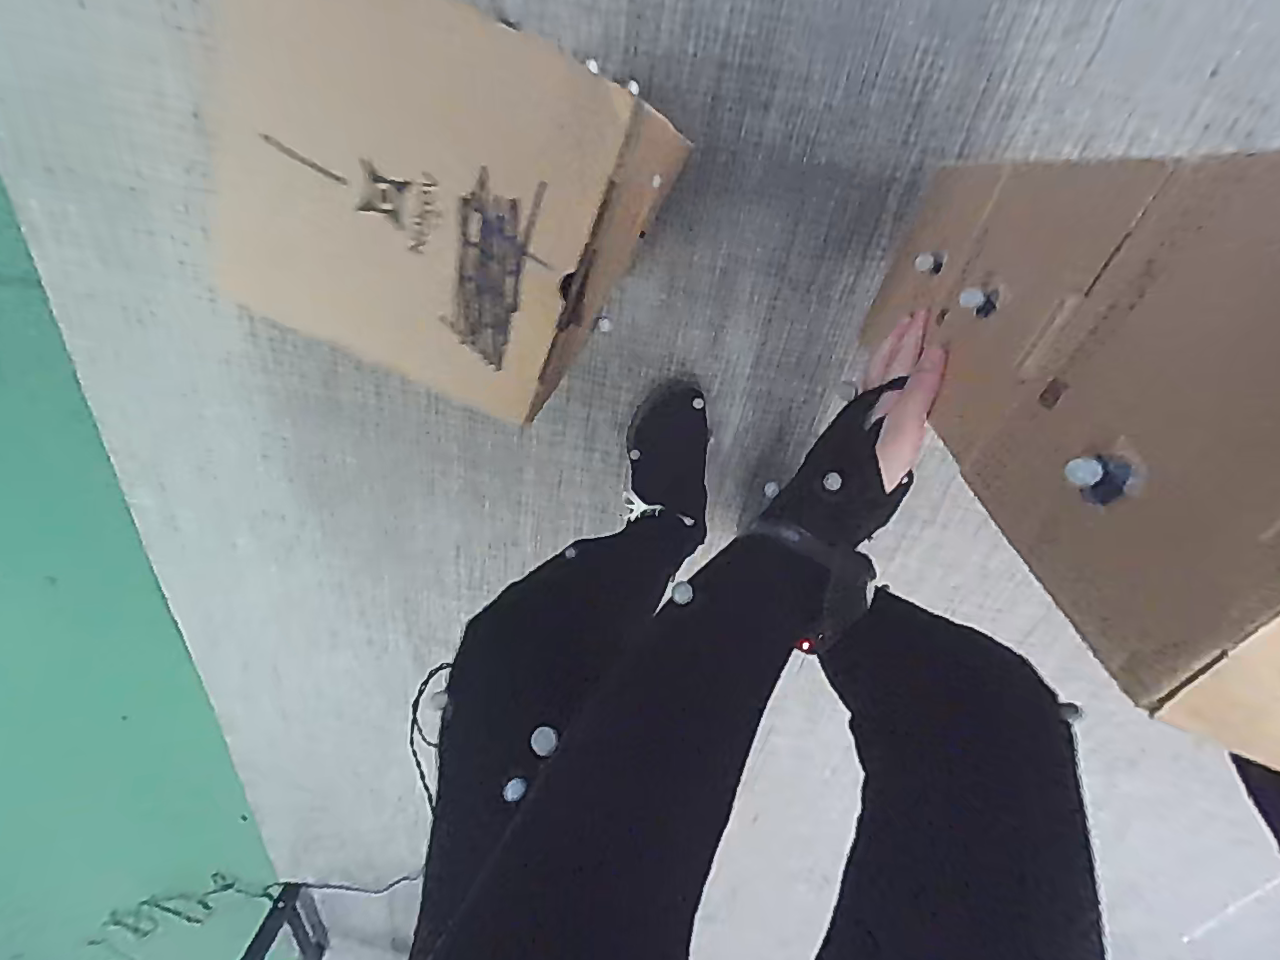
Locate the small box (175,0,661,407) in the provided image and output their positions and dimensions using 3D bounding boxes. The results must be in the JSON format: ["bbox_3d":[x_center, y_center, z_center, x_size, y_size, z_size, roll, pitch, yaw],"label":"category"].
[{"bbox_3d":[-0.102,-0.174,0.301,0.179,0.176,0.168,27,121,-5],"label":"small box"}]

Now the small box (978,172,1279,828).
[{"bbox_3d":[0.257,0.008,0.174,0.179,0.176,0.168,23,122,-1],"label":"small box"}]

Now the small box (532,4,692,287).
[{"bbox_3d":[-0.055,-0.342,0.579,0.168,0.176,0.179,31,120,-10],"label":"small box"}]

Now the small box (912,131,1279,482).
[{"bbox_3d":[0.290,-0.075,0.311,0.179,0.176,0.168,20,122,2],"label":"small box"}]
